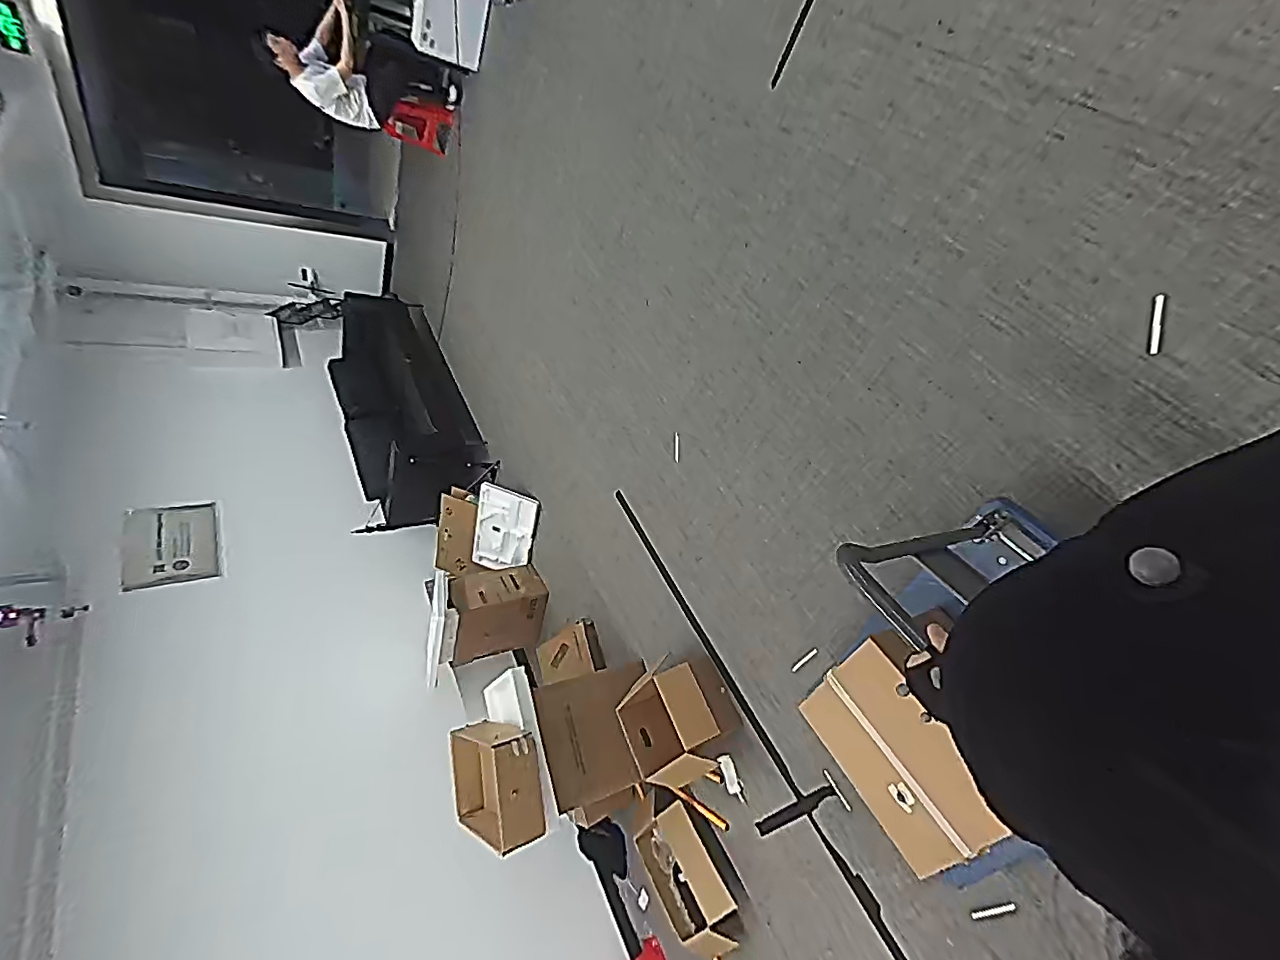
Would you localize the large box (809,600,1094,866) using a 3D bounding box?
[{"bbox_3d":[0.684,0.548,1.235,0.408,0.320,0.320,54,136,35],"label":"large box"}]
